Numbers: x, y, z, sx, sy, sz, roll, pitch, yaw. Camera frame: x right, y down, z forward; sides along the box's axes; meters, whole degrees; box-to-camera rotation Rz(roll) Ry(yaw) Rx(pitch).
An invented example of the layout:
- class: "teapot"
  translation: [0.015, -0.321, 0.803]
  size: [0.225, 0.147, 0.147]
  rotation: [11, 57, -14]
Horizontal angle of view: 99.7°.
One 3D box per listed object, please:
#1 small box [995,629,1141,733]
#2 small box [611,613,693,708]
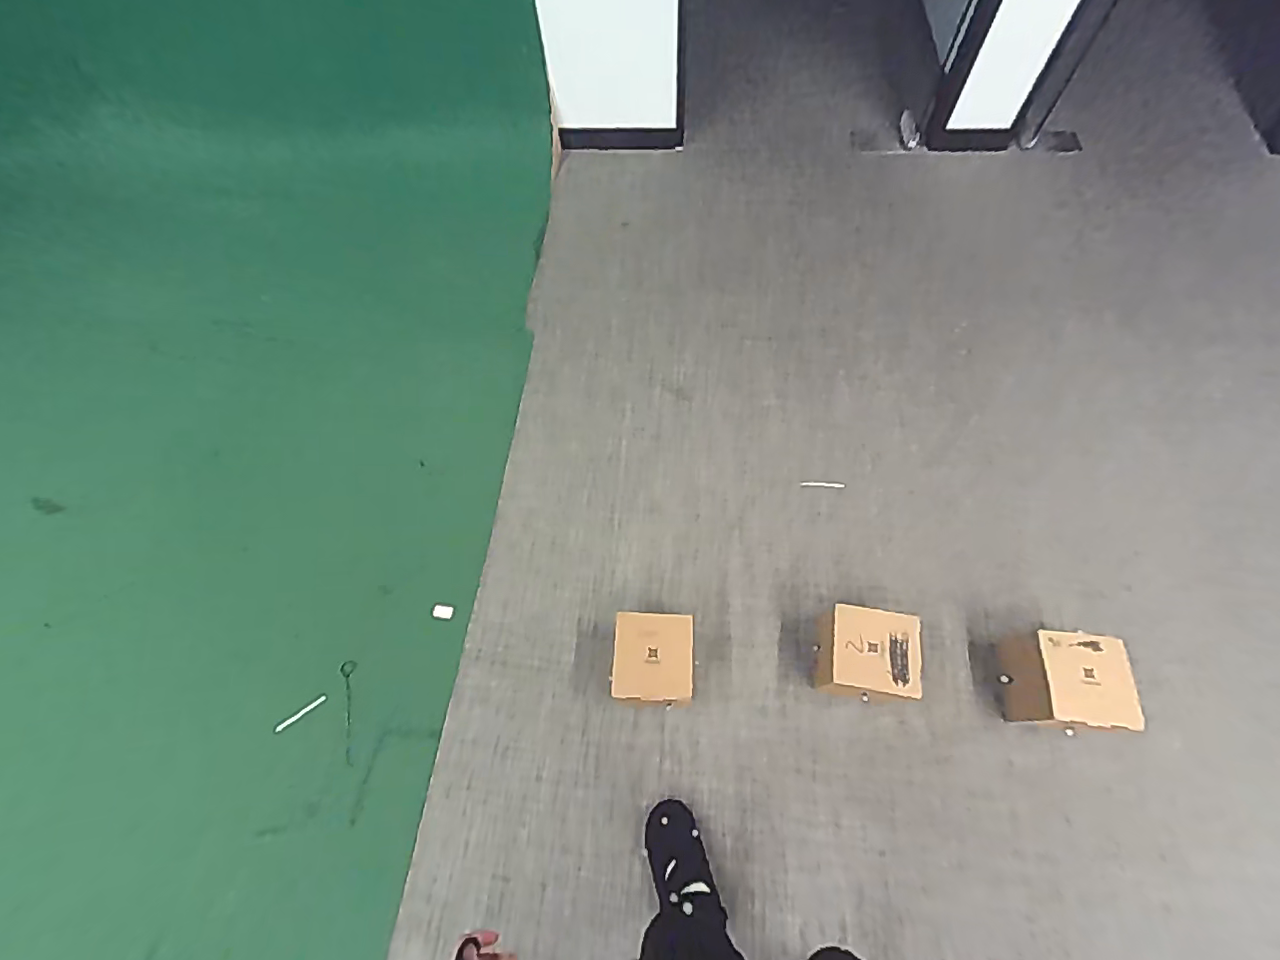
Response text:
- class: "small box"
  translation: [0.886, 0.427, 1.140]
  size: [0.168, 0.176, 0.179]
  rotation: [6, 65, 5]
- class: "small box"
  translation: [0.032, 0.405, 1.199]
  size: [0.168, 0.176, 0.179]
  rotation: [2, 63, 3]
